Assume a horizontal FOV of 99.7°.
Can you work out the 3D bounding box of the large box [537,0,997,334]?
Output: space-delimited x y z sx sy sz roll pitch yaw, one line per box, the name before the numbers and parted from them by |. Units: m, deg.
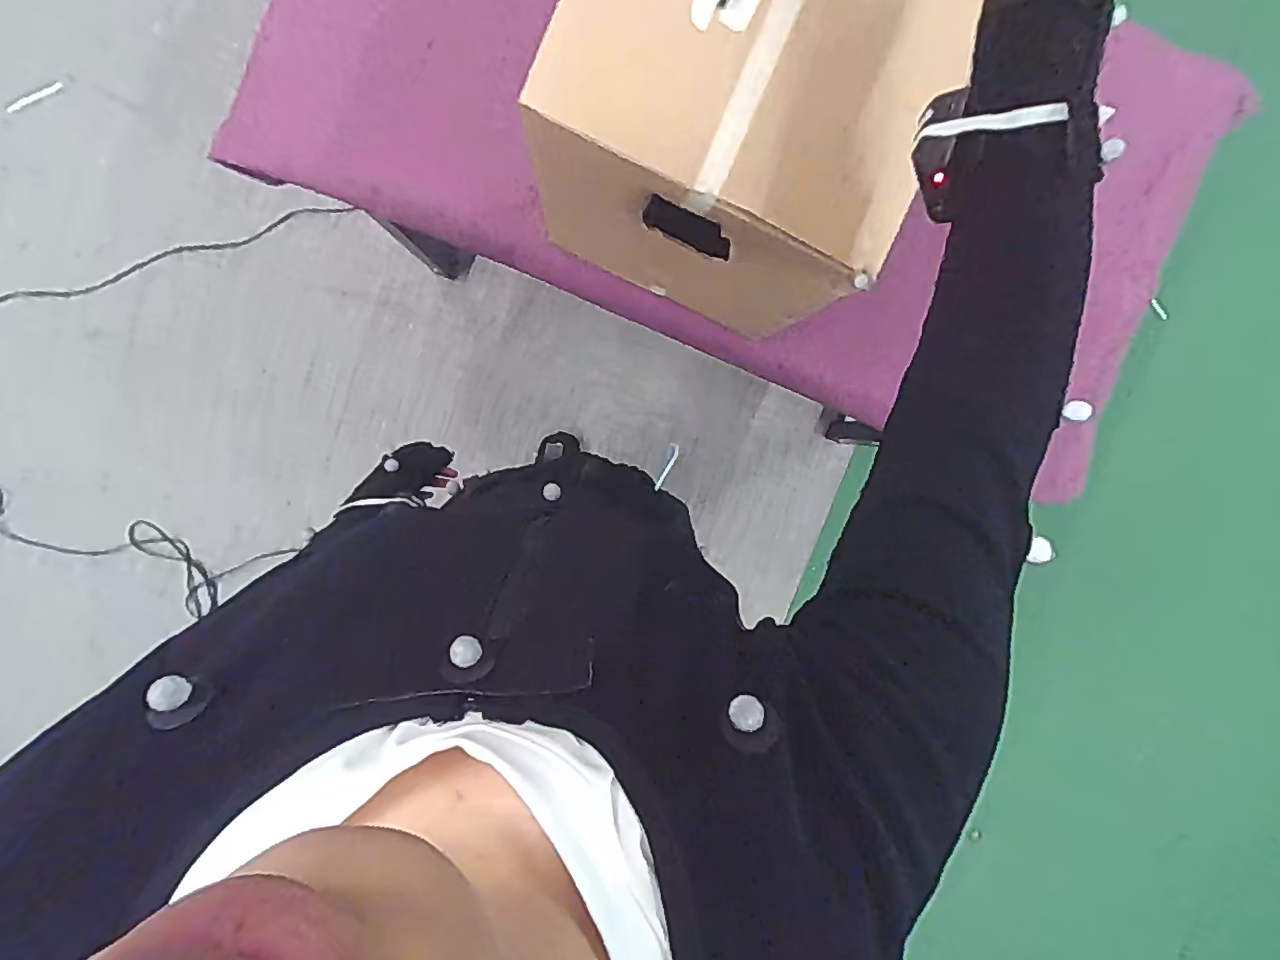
large box | 0.119 -0.424 0.580 0.320 0.320 0.408 24 94 -7
